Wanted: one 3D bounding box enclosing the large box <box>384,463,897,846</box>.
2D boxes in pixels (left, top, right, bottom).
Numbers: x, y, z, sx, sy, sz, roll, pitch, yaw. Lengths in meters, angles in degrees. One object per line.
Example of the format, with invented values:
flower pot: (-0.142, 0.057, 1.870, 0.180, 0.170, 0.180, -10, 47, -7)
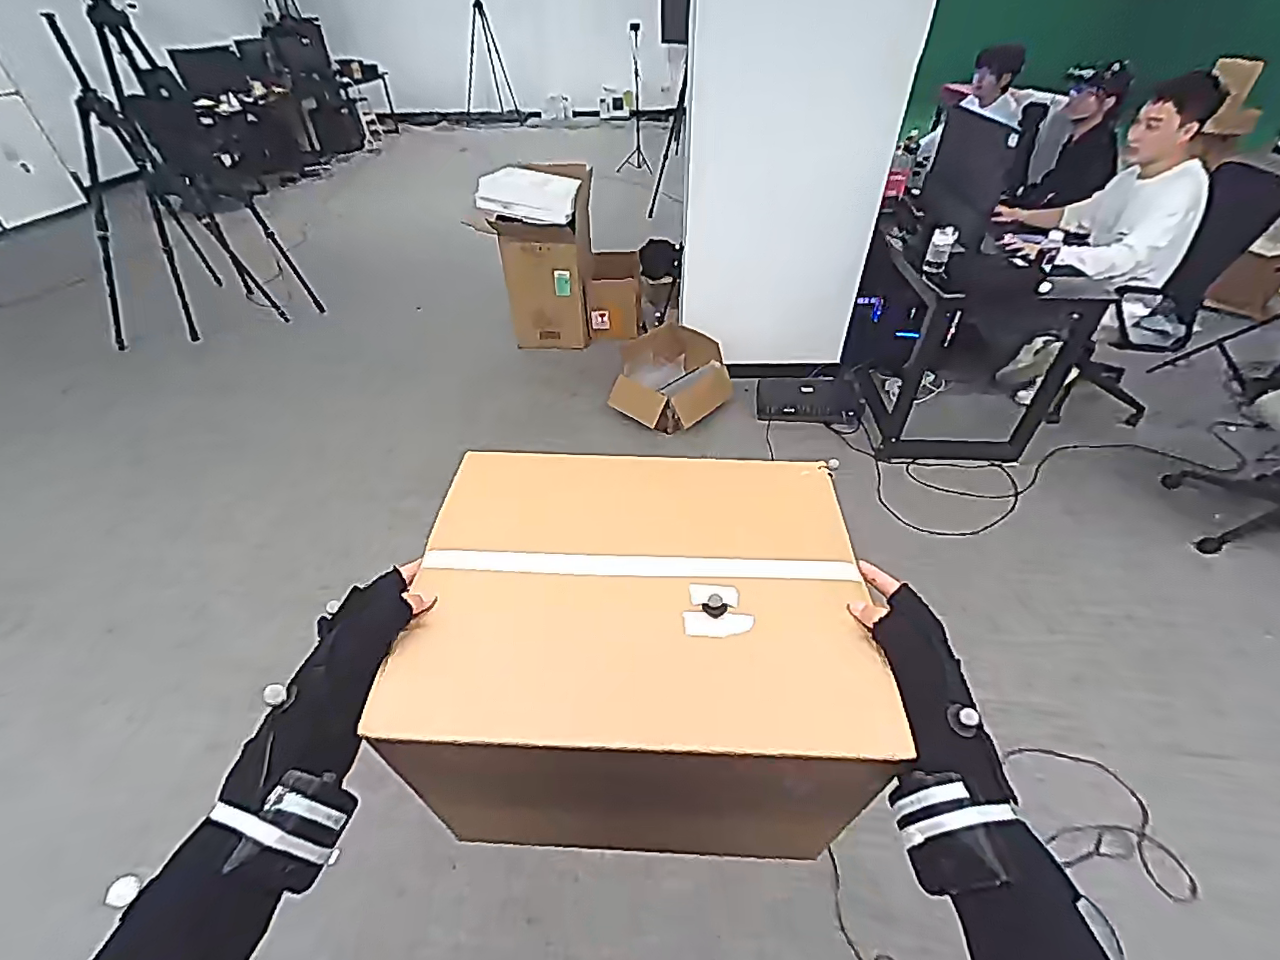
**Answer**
large box: (0.001, 0.197, 0.620, 0.408, 0.320, 0.320, 2, 44, 1)
